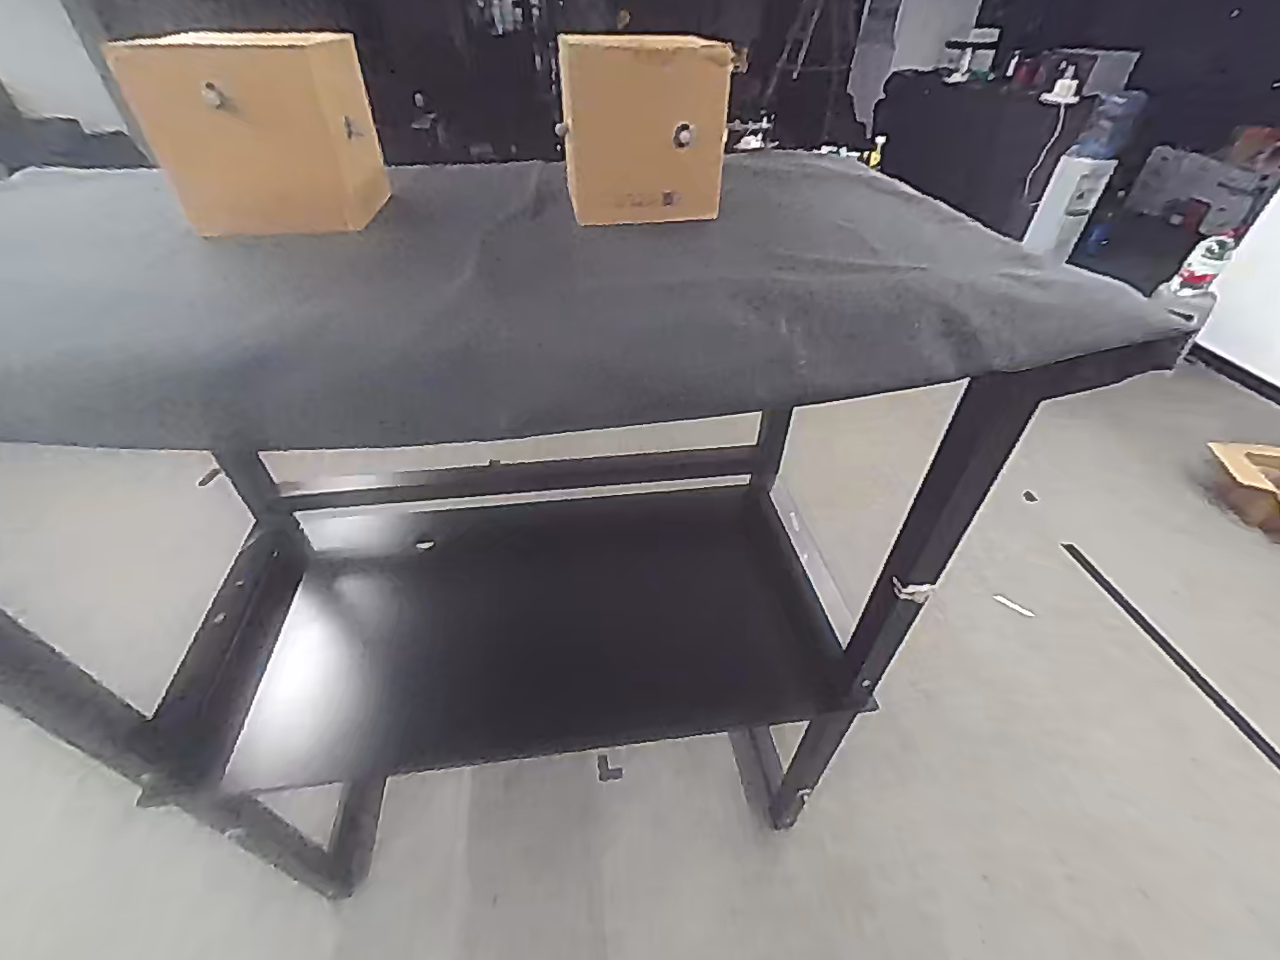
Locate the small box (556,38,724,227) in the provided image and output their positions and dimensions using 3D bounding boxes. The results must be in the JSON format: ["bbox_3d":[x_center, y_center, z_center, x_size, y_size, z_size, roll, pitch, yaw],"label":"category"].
[{"bbox_3d":[-0.007,-0.412,0.645,0.168,0.176,0.179,-6,42,-8],"label":"small box"}]

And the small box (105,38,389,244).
[{"bbox_3d":[-0.405,-0.377,0.603,0.179,0.176,0.168,-5,42,-5],"label":"small box"}]
